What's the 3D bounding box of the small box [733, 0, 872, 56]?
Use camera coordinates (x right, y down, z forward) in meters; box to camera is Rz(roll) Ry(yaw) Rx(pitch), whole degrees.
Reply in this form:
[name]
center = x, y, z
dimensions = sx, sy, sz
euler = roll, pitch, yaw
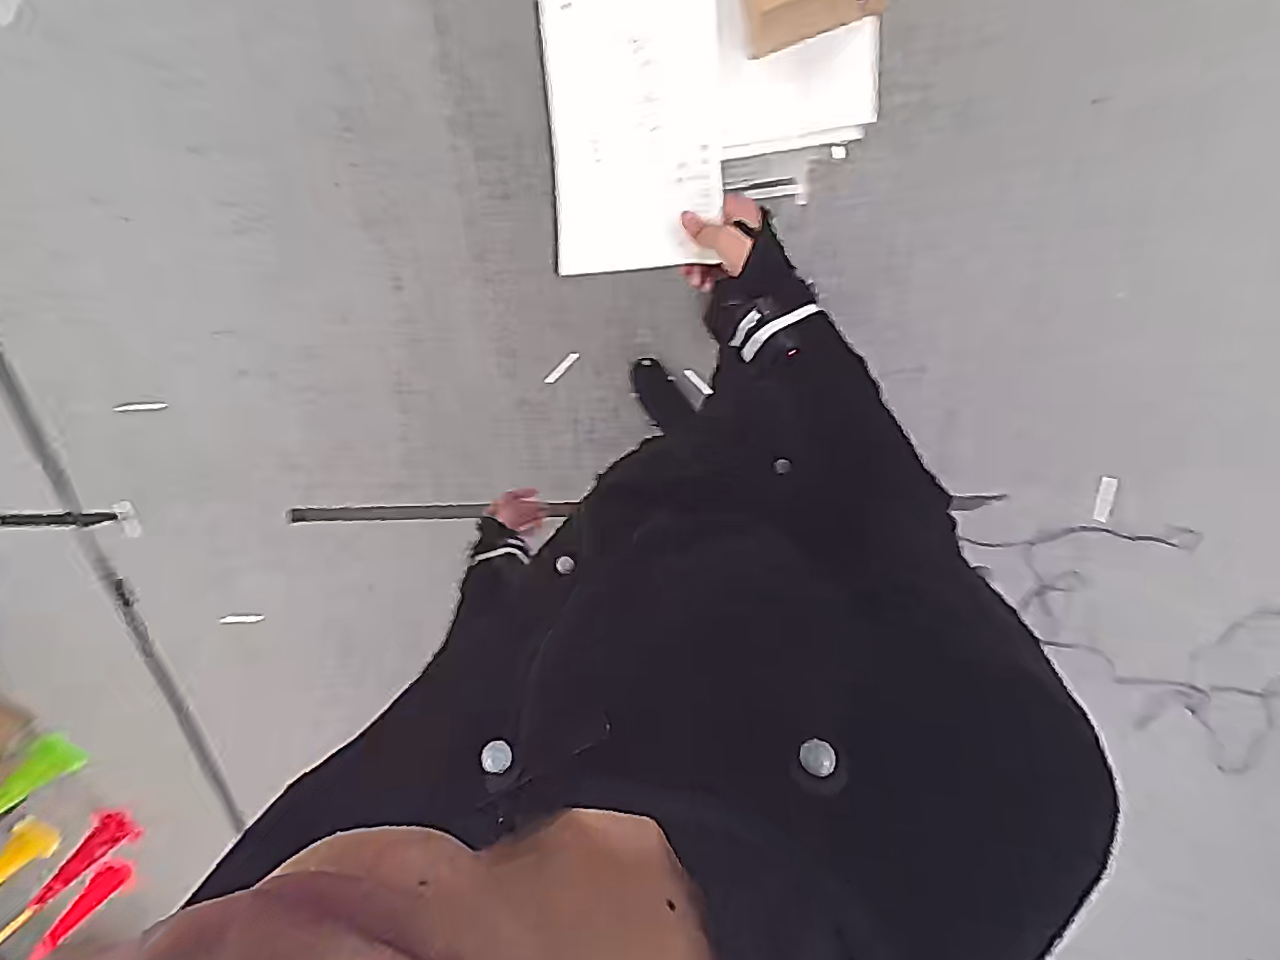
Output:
[small box]
center = 0.202, -0.661, 0.653
dimensions = 0.179, 0.176, 0.168
euler = -14, 110, 11
